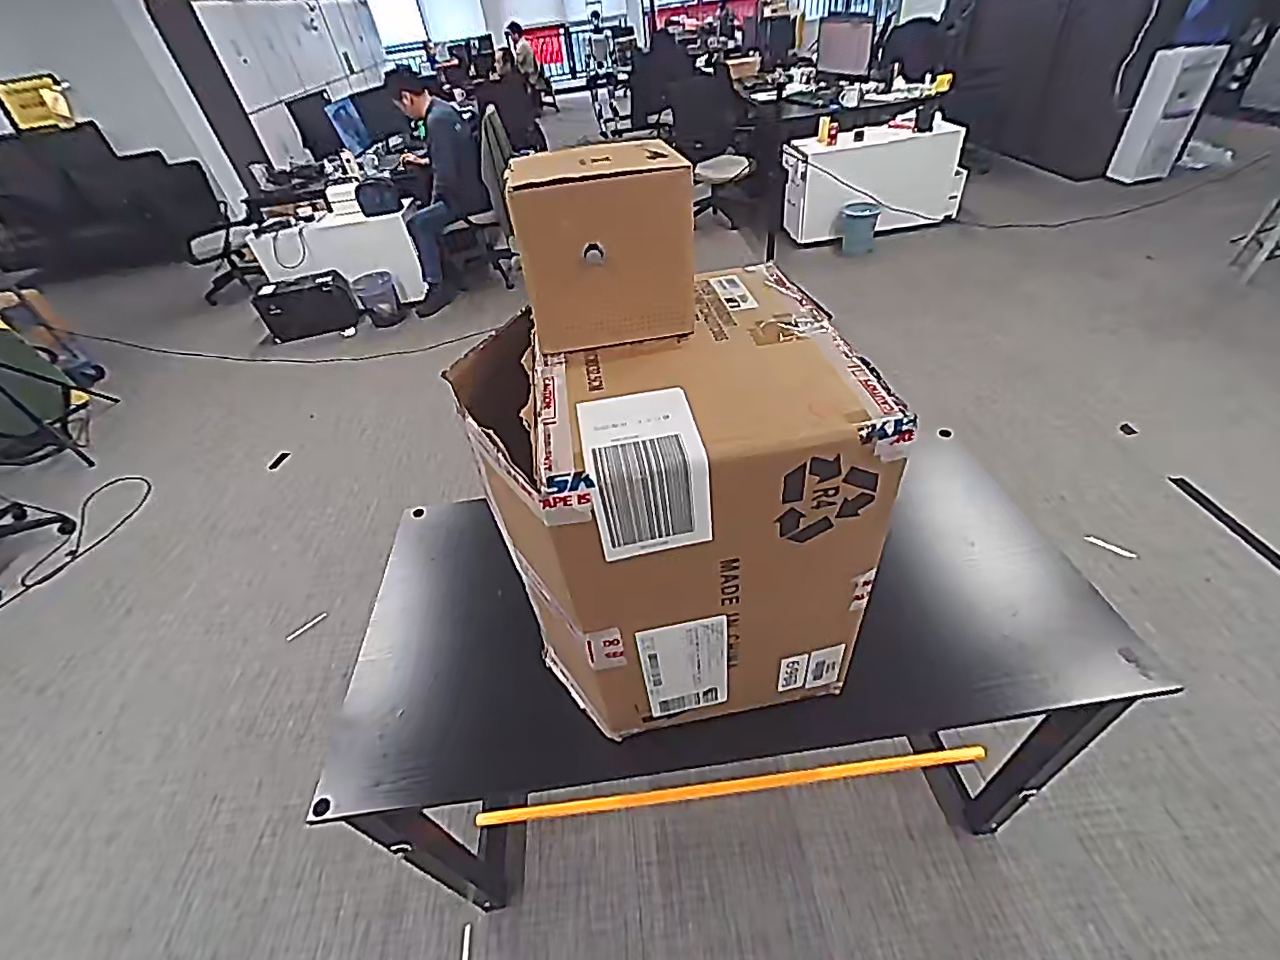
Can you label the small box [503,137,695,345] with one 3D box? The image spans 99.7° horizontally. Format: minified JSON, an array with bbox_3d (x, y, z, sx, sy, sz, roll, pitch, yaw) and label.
[{"bbox_3d":[-0.042,-0.265,0.605,0.179,0.176,0.168,-10,40,-3],"label":"small box"}]
